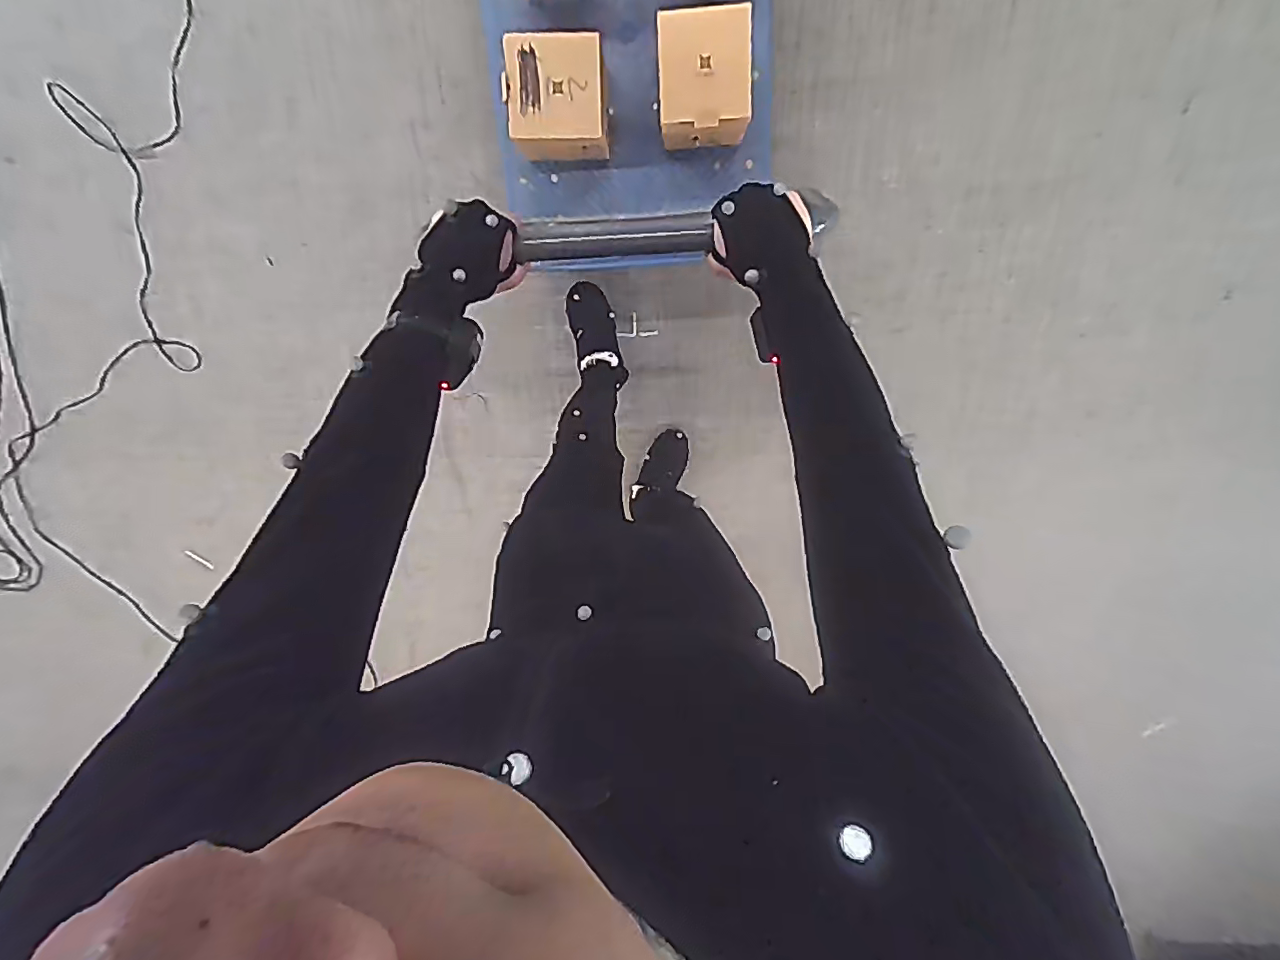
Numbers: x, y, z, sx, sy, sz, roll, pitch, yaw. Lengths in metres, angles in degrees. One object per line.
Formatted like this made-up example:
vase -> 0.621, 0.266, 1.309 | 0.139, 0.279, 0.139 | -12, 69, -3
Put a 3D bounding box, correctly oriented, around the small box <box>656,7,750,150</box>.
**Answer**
small box -> 0.116, -0.762, 1.044 | 0.168, 0.176, 0.179 | -3, 109, 3
